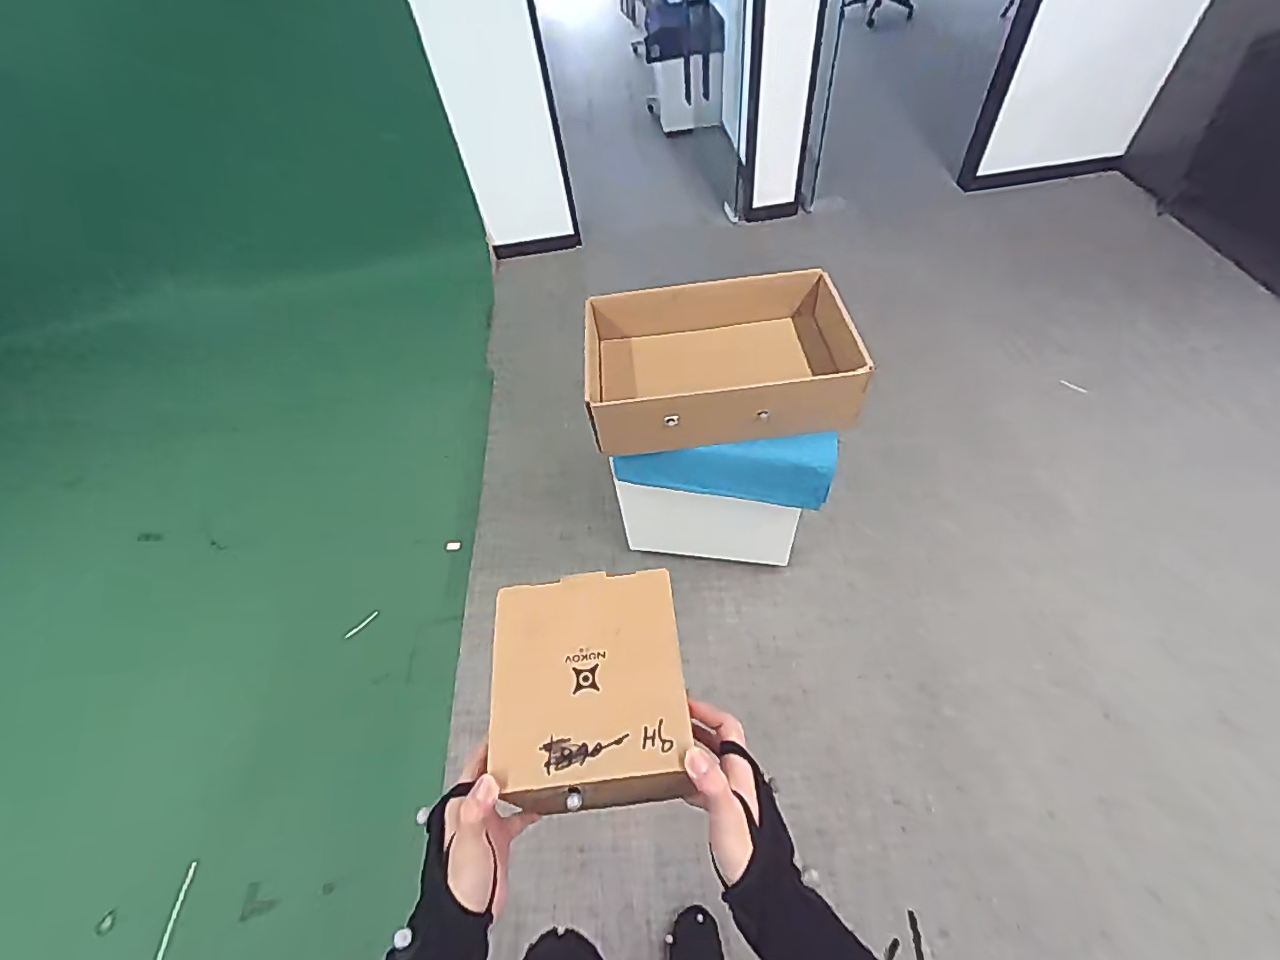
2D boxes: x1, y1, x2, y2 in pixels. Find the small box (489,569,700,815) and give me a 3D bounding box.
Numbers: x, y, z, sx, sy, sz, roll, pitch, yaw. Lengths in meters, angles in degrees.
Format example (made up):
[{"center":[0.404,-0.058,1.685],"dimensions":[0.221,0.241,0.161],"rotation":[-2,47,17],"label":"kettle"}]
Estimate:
[{"center":[-0.036,0.210,0.530],"dimensions":[0.168,0.176,0.179],"rotation":[-7,52,1],"label":"small box"}]
